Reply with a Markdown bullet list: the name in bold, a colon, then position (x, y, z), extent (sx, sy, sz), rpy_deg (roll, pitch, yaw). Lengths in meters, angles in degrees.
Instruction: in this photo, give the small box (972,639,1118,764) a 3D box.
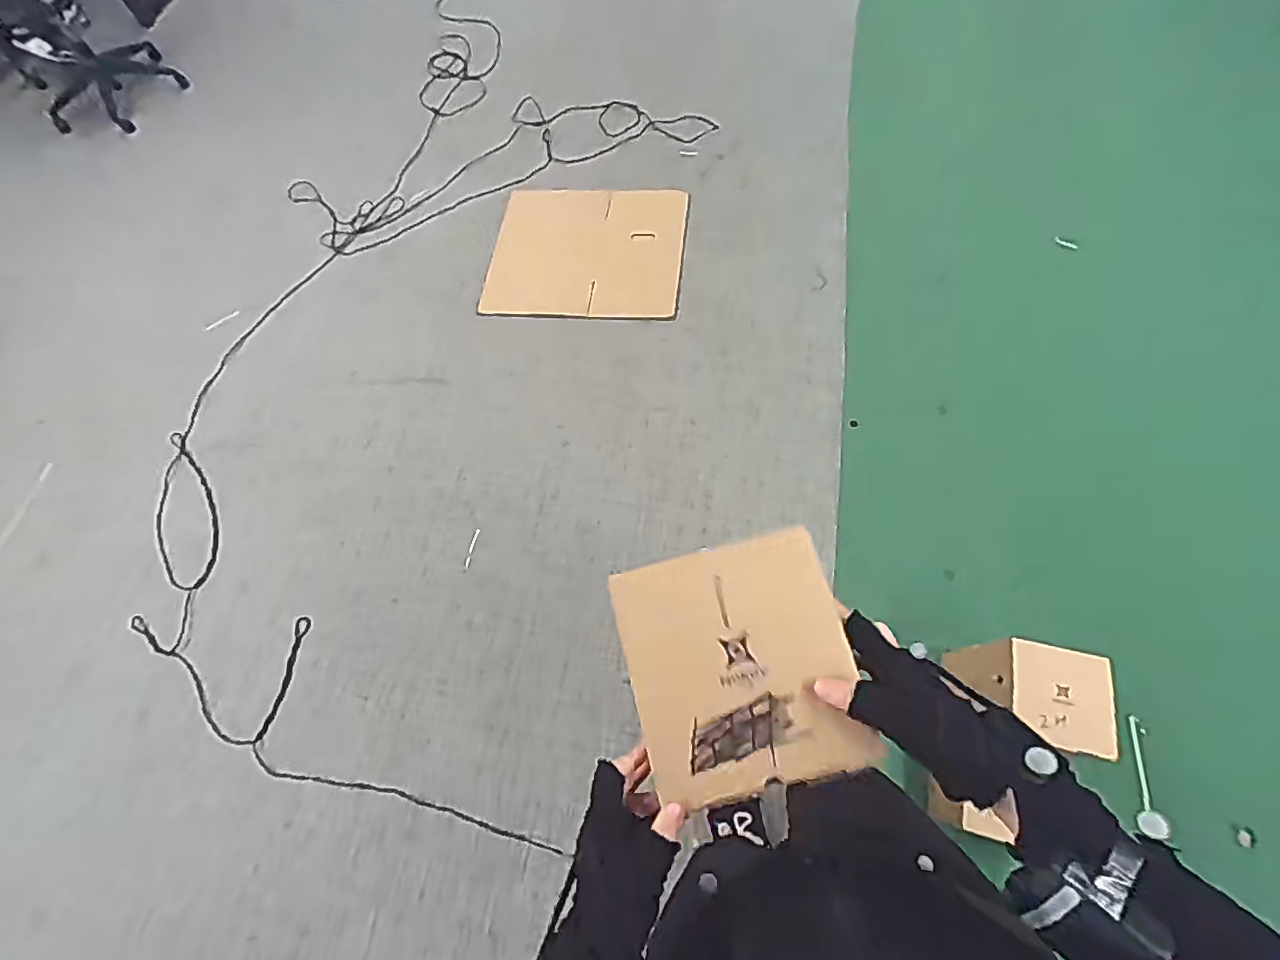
- **small box**: position (0.759, 0.420, 1.033), extent (0.168, 0.176, 0.179), rpy_deg (11, 68, 11)
